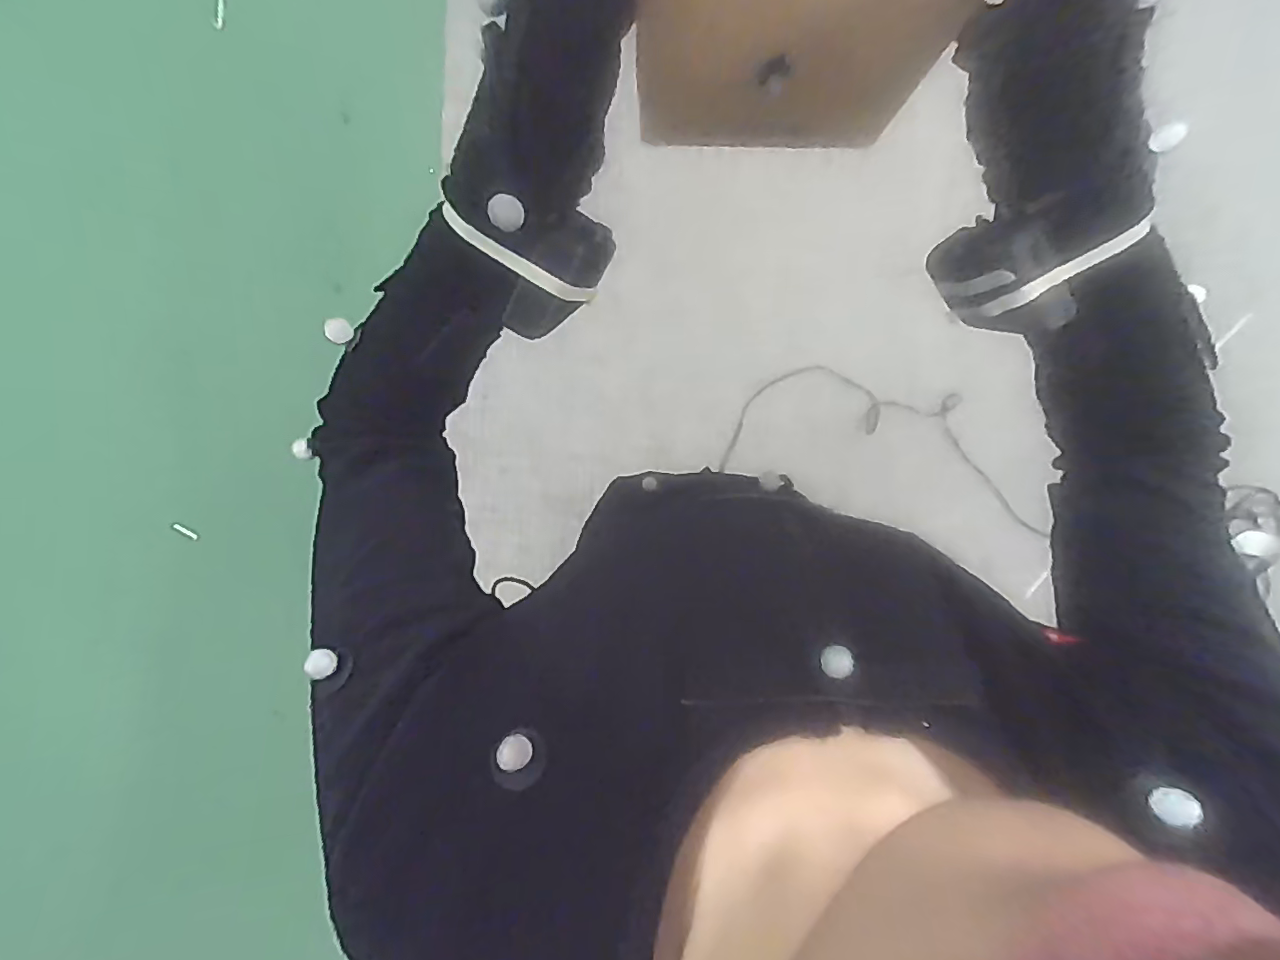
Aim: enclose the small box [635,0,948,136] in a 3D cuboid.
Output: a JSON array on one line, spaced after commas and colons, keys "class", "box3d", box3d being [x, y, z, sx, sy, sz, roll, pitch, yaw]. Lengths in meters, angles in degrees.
[{"class": "small box", "box3d": [0.082, -0.324, 0.300, 0.168, 0.176, 0.179, 1, 93, 0]}]
